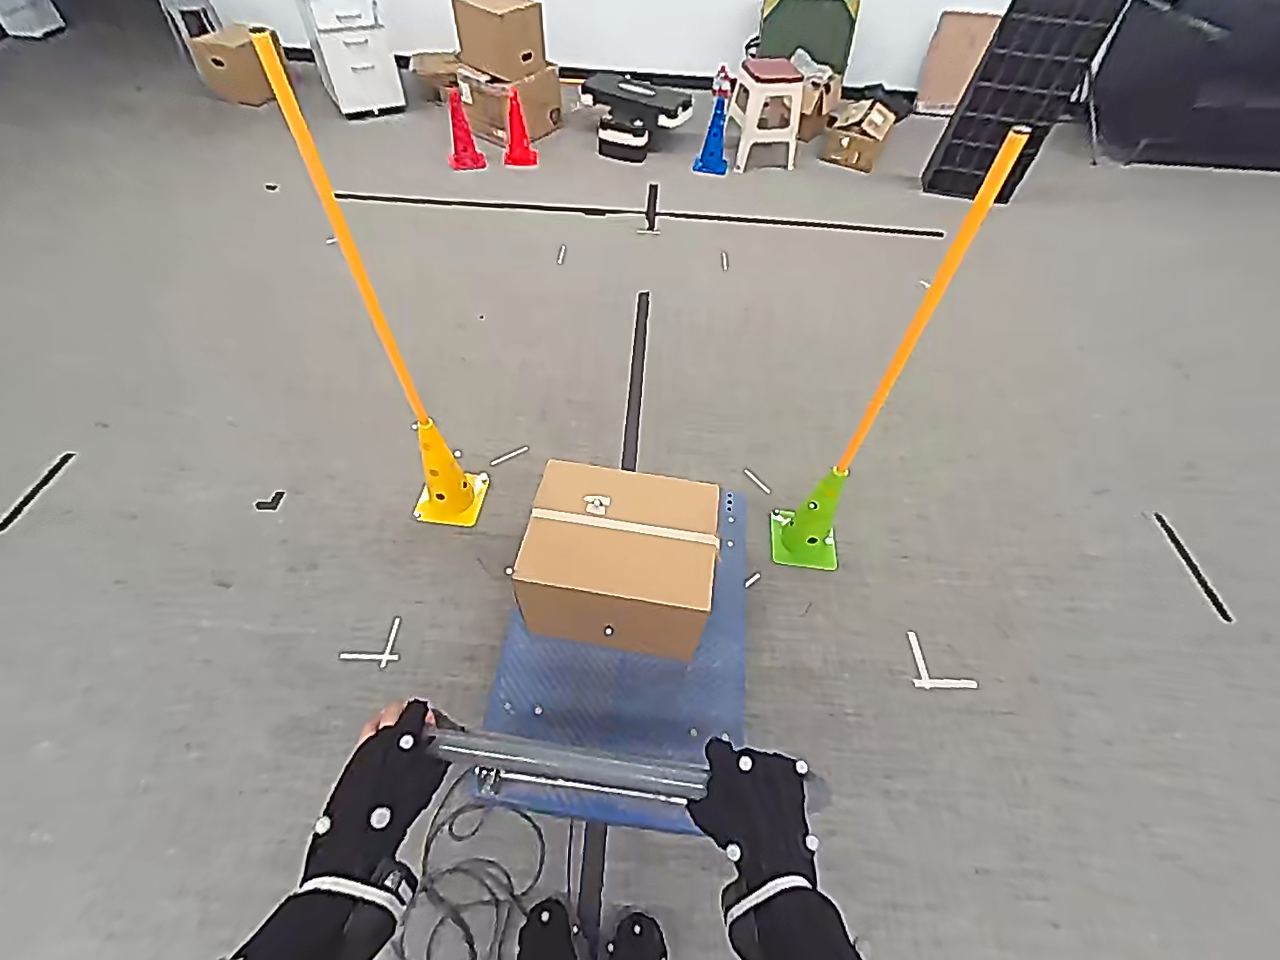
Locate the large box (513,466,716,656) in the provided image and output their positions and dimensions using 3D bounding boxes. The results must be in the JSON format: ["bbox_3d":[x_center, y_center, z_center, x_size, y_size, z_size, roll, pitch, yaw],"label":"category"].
[{"bbox_3d":[-0.045,0.201,1.293,0.408,0.320,0.320,9,53,4],"label":"large box"}]

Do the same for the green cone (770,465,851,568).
[{"bbox_3d":[0.530,0.083,1.595,0.202,0.368,0.200,8,53,1],"label":"green cone"}]
